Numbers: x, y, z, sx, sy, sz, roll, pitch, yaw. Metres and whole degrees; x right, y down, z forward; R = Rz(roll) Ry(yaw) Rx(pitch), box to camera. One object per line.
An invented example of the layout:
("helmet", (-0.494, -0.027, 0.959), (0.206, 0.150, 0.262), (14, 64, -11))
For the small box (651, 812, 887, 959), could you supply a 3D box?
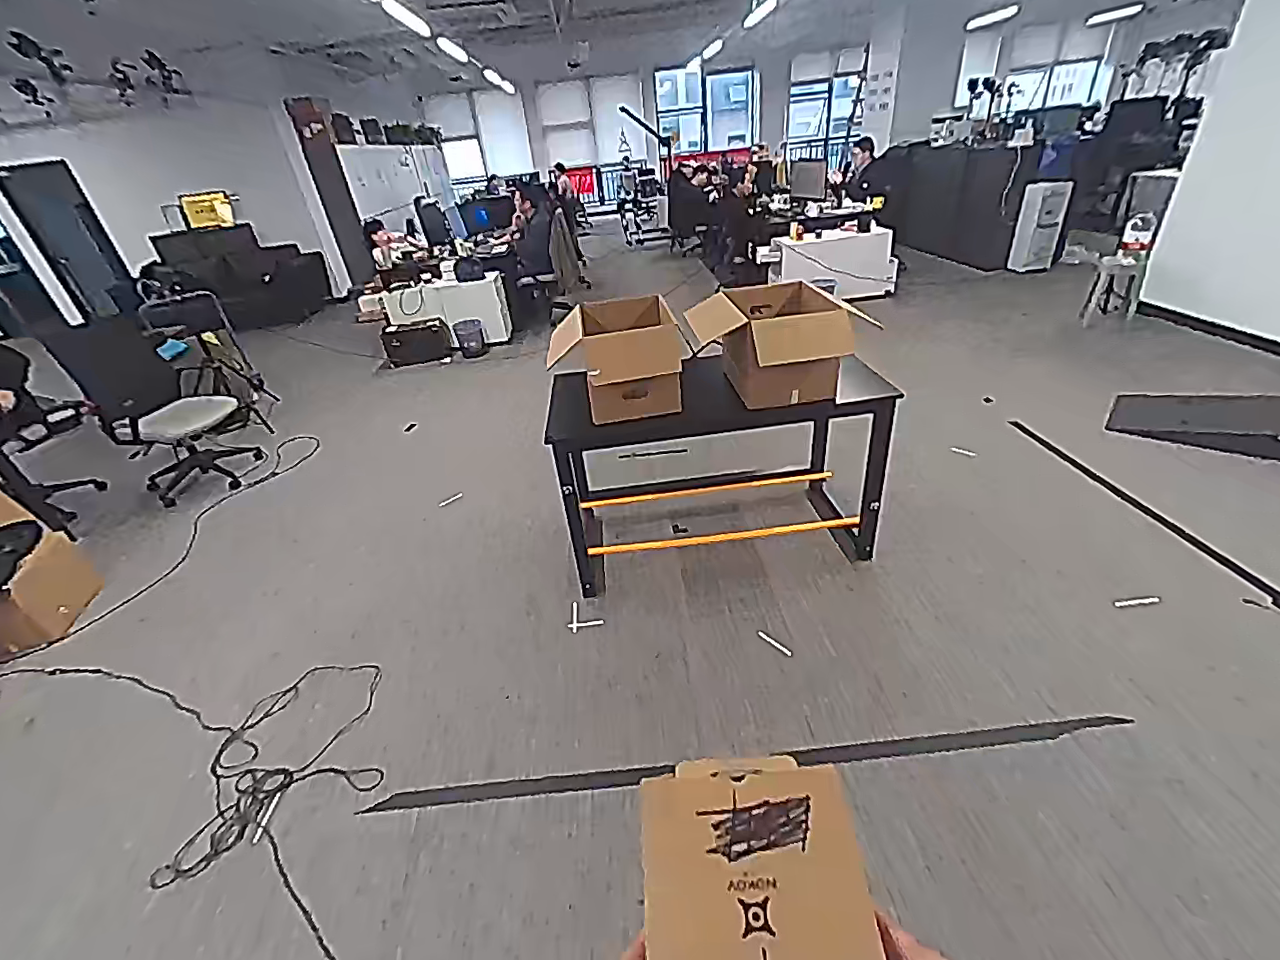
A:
("small box", (0.098, 0.392, 0.438), (0.168, 0.176, 0.179), (-6, 47, 3))
